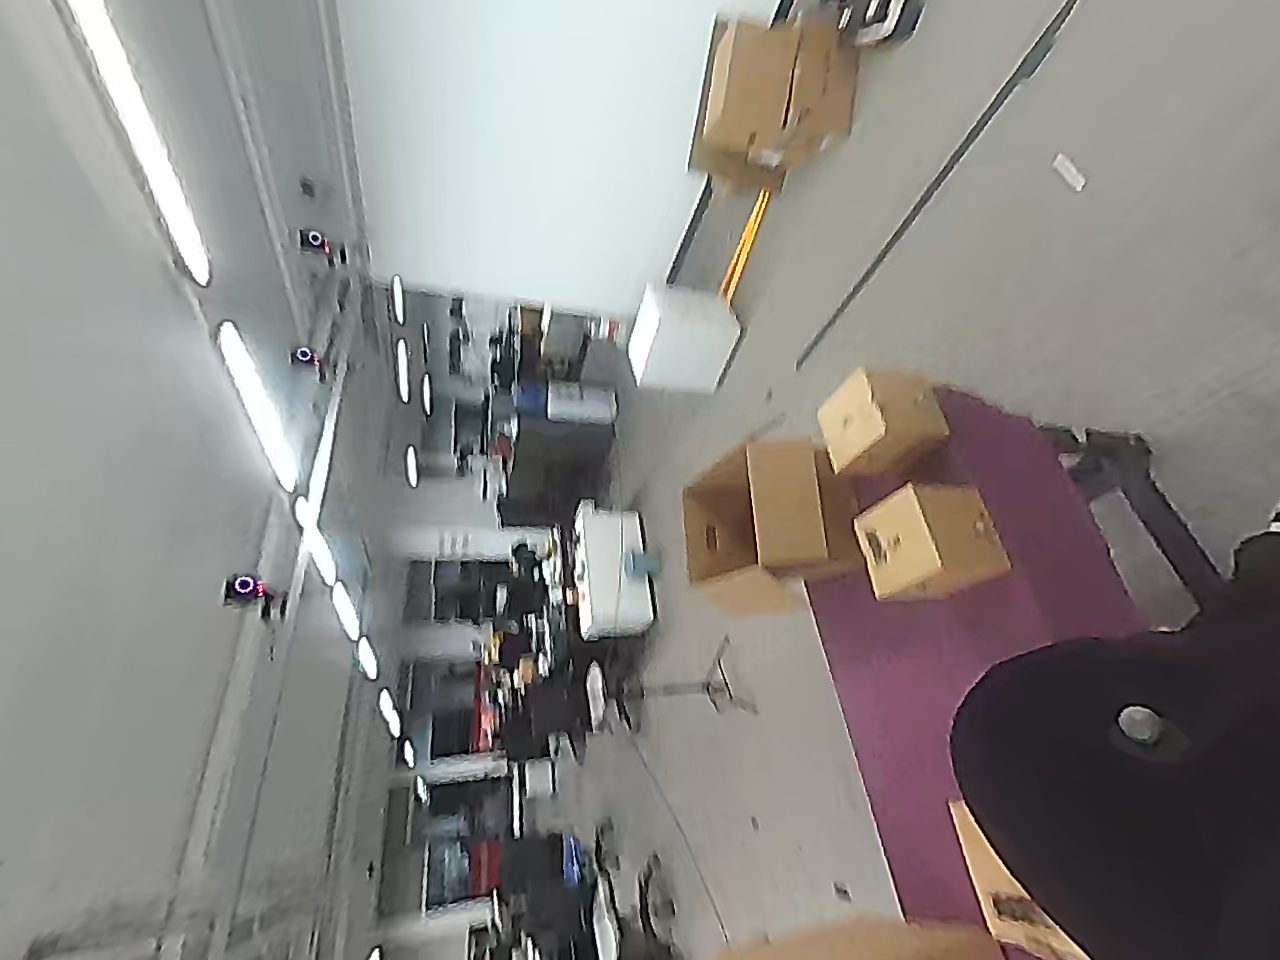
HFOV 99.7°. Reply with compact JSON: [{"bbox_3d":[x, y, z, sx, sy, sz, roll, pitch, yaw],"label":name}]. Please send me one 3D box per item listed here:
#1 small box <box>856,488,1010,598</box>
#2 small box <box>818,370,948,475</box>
[{"bbox_3d":[0.567,0.129,1.061,0.179,0.176,0.168,122,146,-56],"label":"small box"},{"bbox_3d":[0.531,-0.119,1.196,0.179,0.176,0.168,121,146,-57],"label":"small box"}]
